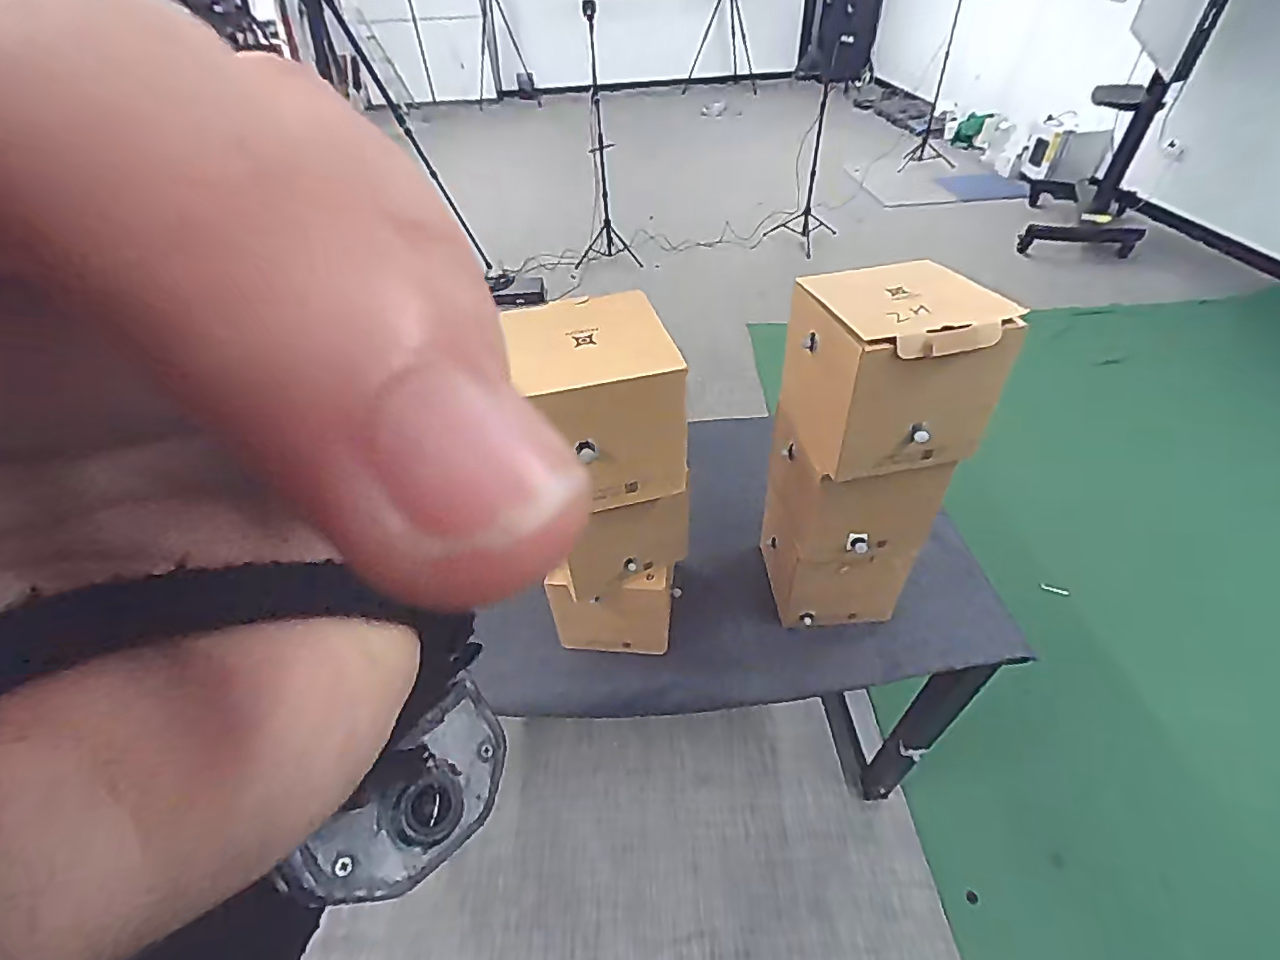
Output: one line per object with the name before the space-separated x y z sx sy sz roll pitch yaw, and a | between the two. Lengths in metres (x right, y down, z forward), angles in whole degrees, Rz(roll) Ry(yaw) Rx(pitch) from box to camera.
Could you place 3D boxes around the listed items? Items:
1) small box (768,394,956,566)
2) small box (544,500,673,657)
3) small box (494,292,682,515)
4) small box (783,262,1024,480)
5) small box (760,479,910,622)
small box | 0.279 -0.009 0.732 0.168 0.176 0.179 -8 43 -2
small box | -0.038 0.145 0.831 0.168 0.176 0.179 2 43 6
small box | -0.054 -0.079 0.592 0.168 0.176 0.179 -12 44 -9
small box | 0.272 -0.125 0.614 0.168 0.176 0.179 -10 42 -4
small box | 0.289 0.108 0.844 0.168 0.176 0.179 -4 41 0
